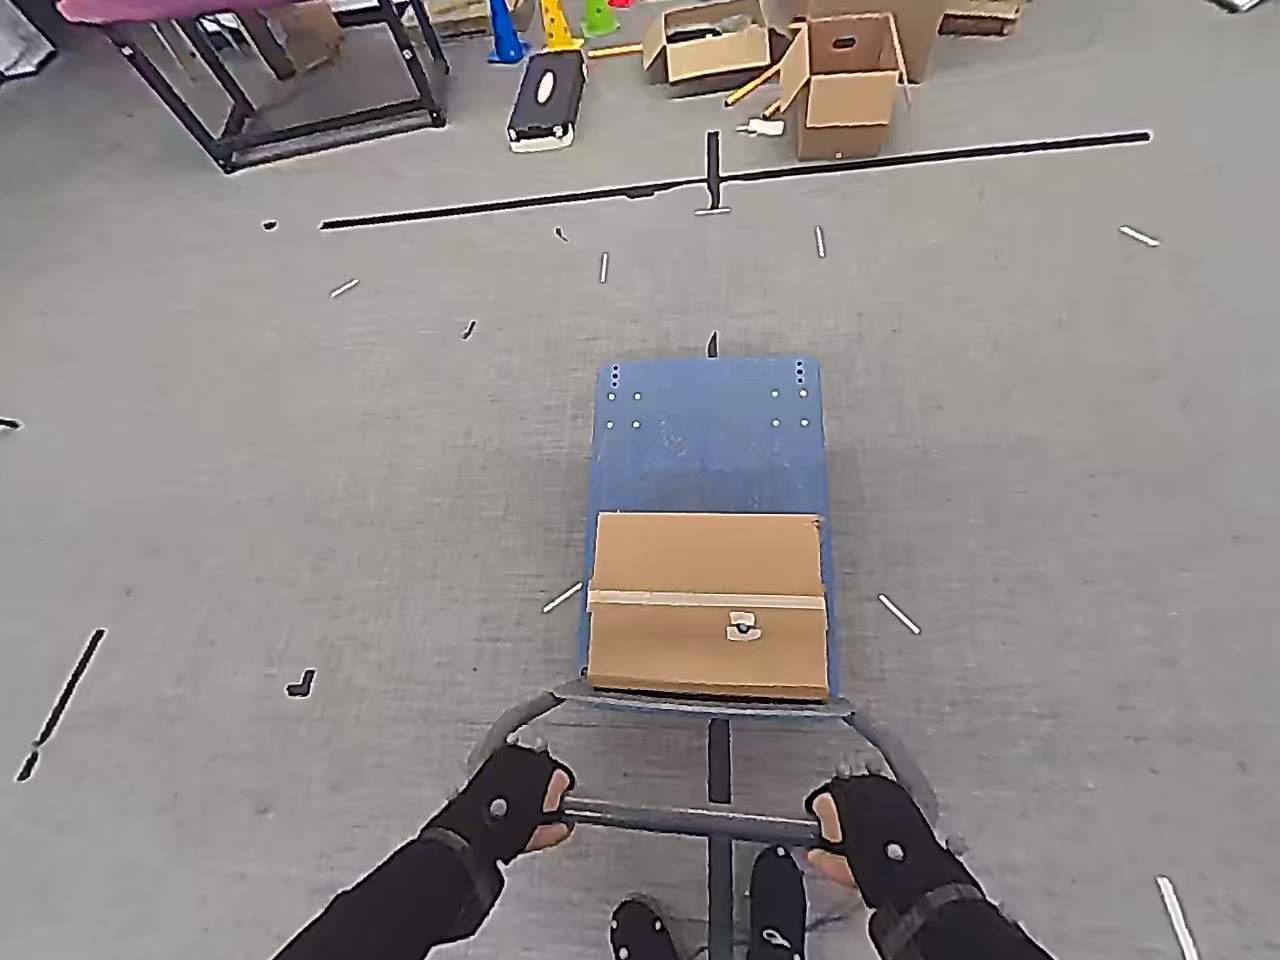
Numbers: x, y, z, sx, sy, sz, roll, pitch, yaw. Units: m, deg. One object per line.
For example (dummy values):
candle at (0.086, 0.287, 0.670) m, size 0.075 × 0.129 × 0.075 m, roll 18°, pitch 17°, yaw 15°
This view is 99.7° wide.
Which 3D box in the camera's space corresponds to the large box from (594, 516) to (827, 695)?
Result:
large box at (0.134, 0.262, 1.108) m, size 0.408 × 0.320 × 0.320 m, roll 0°, pitch 73°, yaw 7°
